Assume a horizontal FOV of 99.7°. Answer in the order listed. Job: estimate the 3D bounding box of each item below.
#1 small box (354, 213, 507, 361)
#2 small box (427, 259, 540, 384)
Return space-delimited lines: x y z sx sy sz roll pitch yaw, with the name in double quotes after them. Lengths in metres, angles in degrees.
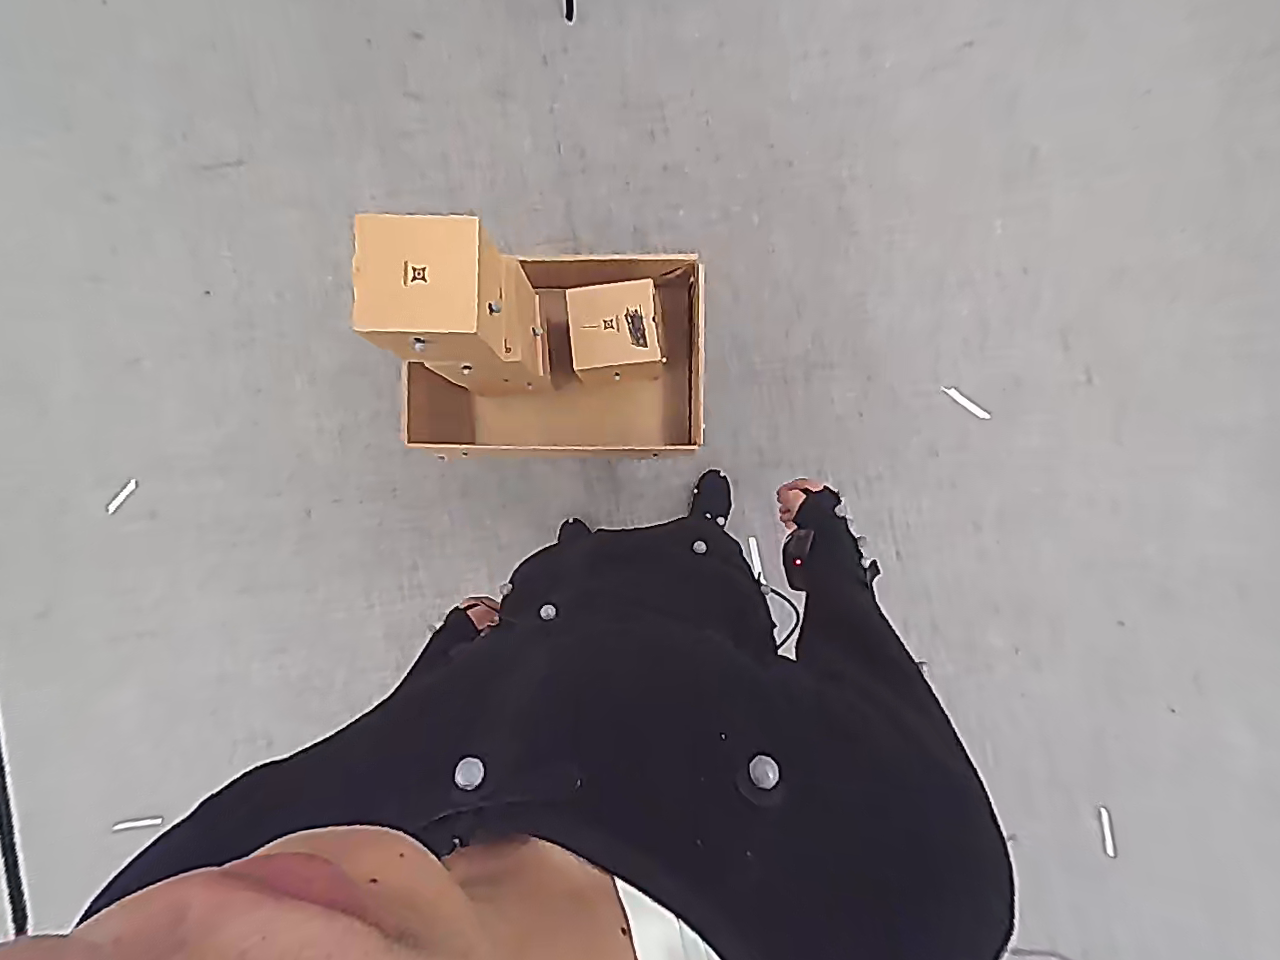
-0.306 -0.283 0.824 0.179 0.176 0.168 0 89 0 "small box"
-0.280 -0.281 0.987 0.168 0.176 0.179 -3 88 0 "small box"
